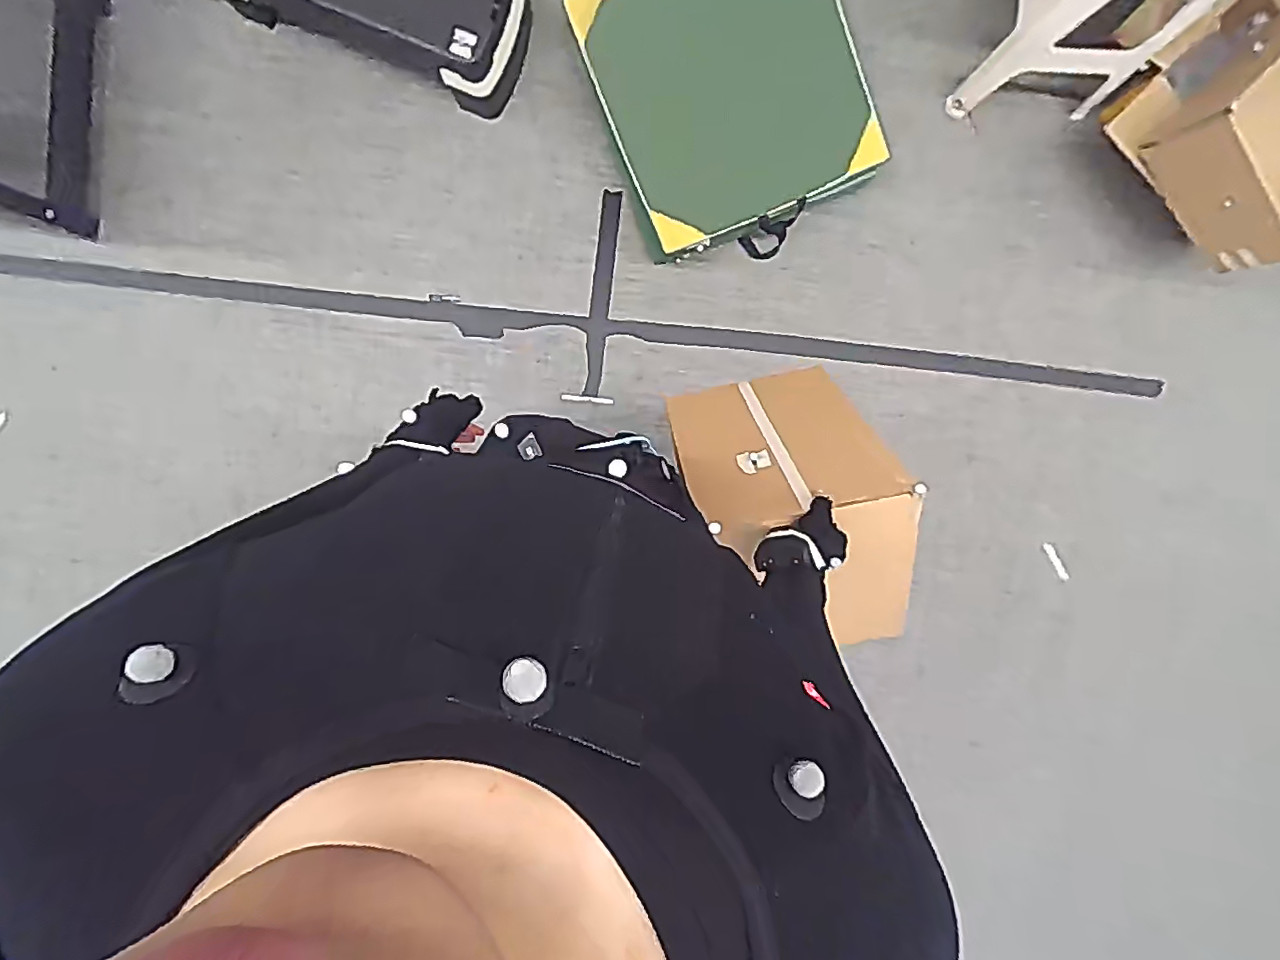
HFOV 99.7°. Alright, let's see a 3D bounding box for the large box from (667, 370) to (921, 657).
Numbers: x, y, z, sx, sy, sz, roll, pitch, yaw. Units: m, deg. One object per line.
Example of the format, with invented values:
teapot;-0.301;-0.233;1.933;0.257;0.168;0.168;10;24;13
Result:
large box;0.250;0.048;1.000;0.320;0.408;0.320;-13;128;4
